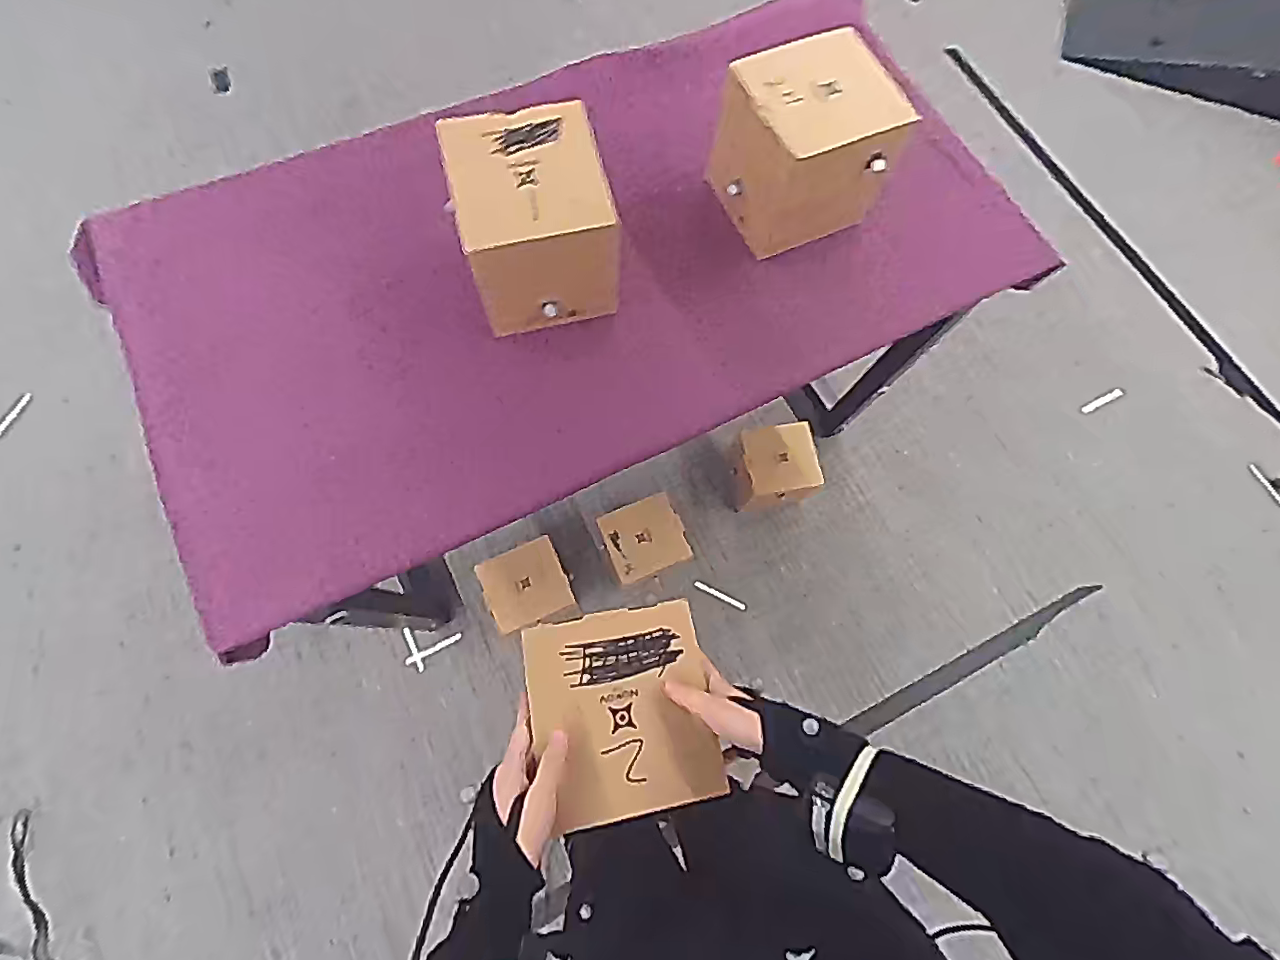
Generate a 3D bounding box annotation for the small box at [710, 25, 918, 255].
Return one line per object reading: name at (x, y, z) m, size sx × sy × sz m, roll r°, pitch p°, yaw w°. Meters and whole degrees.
small box at (0.213, -0.438, 0.716) m, size 0.179 × 0.176 × 0.168 m, roll -24°, pitch 75°, yaw -9°

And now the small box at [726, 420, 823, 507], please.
small box at (0.331, -0.036, 1.367) m, size 0.179 × 0.176 × 0.168 m, roll -9°, pitch 75°, yaw -5°

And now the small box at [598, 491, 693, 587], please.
small box at (0.006, 0.147, 1.296) m, size 0.179 × 0.176 × 0.168 m, roll -21°, pitch 76°, yaw -9°

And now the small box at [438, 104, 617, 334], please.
small box at (-0.129, -0.308, 0.660) m, size 0.168 × 0.176 × 0.179 m, roll -14°, pitch 76°, yaw -7°
